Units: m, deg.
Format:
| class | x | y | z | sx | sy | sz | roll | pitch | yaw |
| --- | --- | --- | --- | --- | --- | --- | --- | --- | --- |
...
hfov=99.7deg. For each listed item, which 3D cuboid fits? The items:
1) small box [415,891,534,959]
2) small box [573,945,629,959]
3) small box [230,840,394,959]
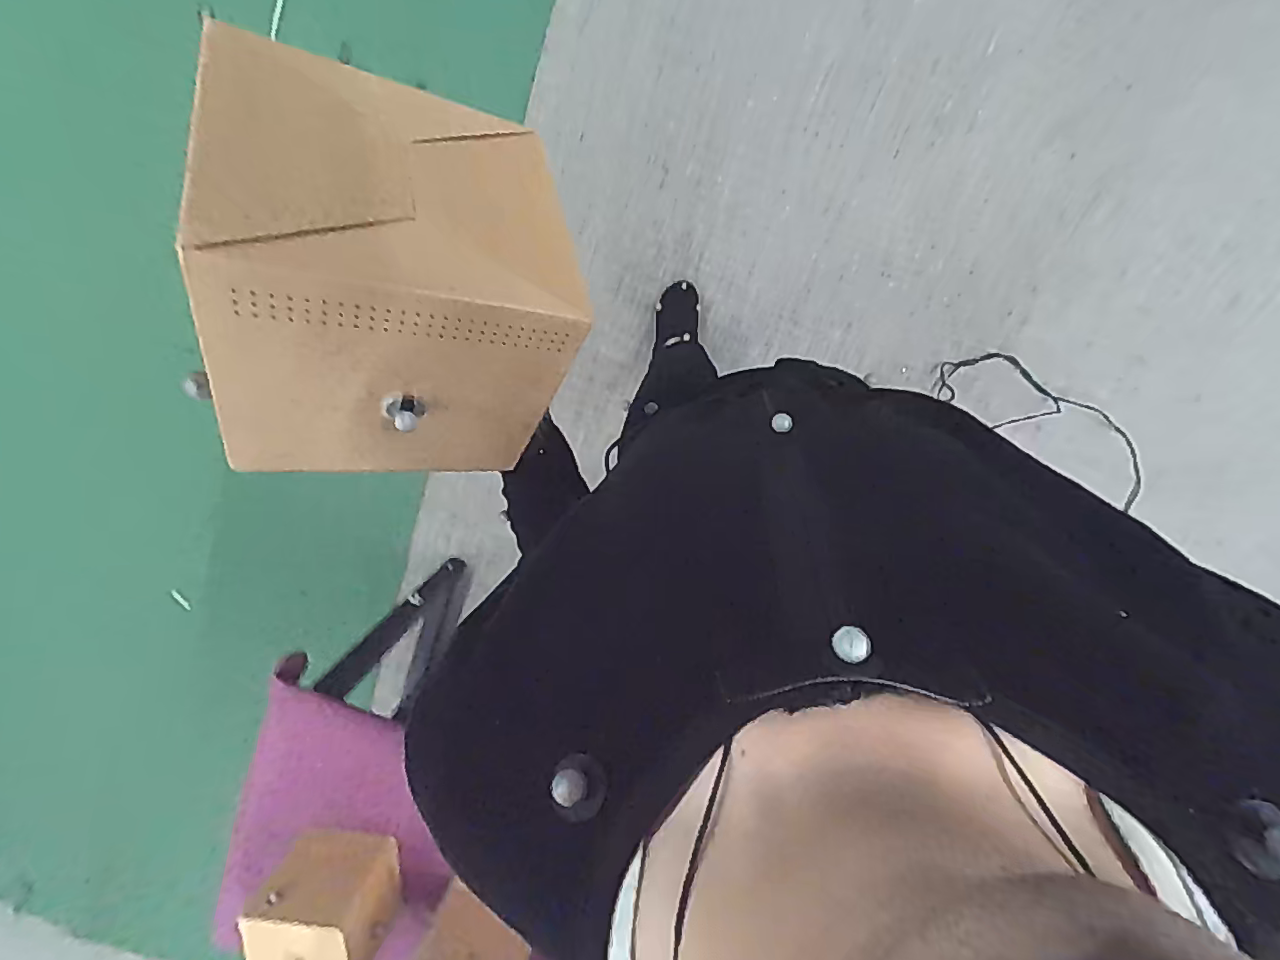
| class | x | y | z | sx | sy | sz | roll | pitch | yaw |
| --- | --- | --- | --- | --- | --- | --- | --- | --- | --- |
| small box | -0.303 | 0.860 | 0.925 | 0.179 | 0.176 | 0.168 | 26 | 104 | -1 |
| small box | -0.067 | 0.968 | 0.929 | 0.168 | 0.176 | 0.179 | 19 | 104 | 0 |
| small box | -0.538 | 0.751 | 0.919 | 0.179 | 0.176 | 0.168 | 3 | 105 | 4 |
